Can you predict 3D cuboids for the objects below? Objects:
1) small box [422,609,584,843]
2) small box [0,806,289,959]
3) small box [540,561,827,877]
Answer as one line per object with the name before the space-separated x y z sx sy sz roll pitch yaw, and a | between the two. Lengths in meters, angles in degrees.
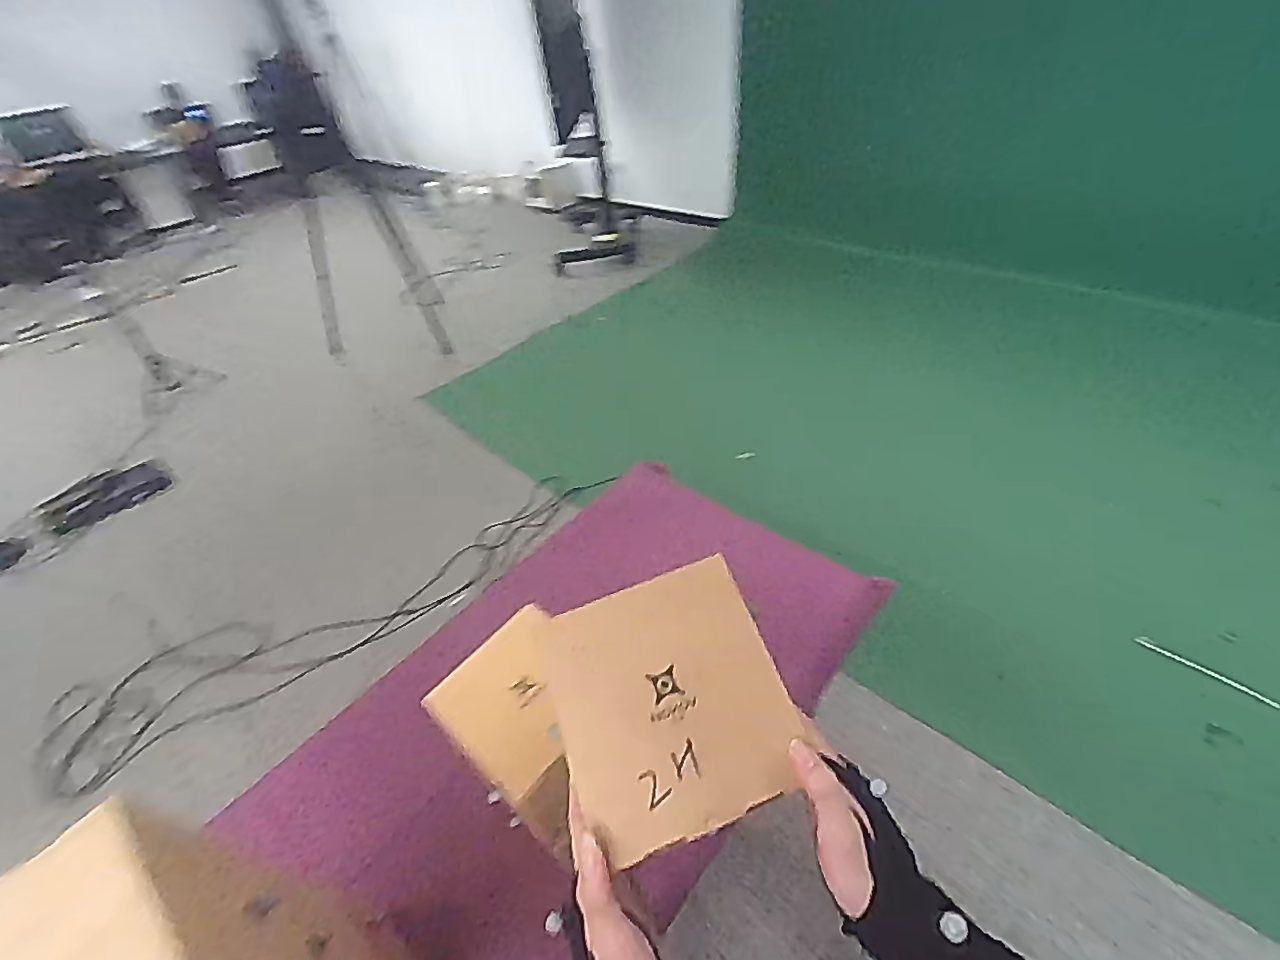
small box | -0.127 0.302 0.666 0.179 0.176 0.168 26 52 31
small box | -0.377 0.380 0.374 0.179 0.176 0.168 24 52 32
small box | 0.028 0.198 0.465 0.168 0.176 0.179 -20 63 -5
